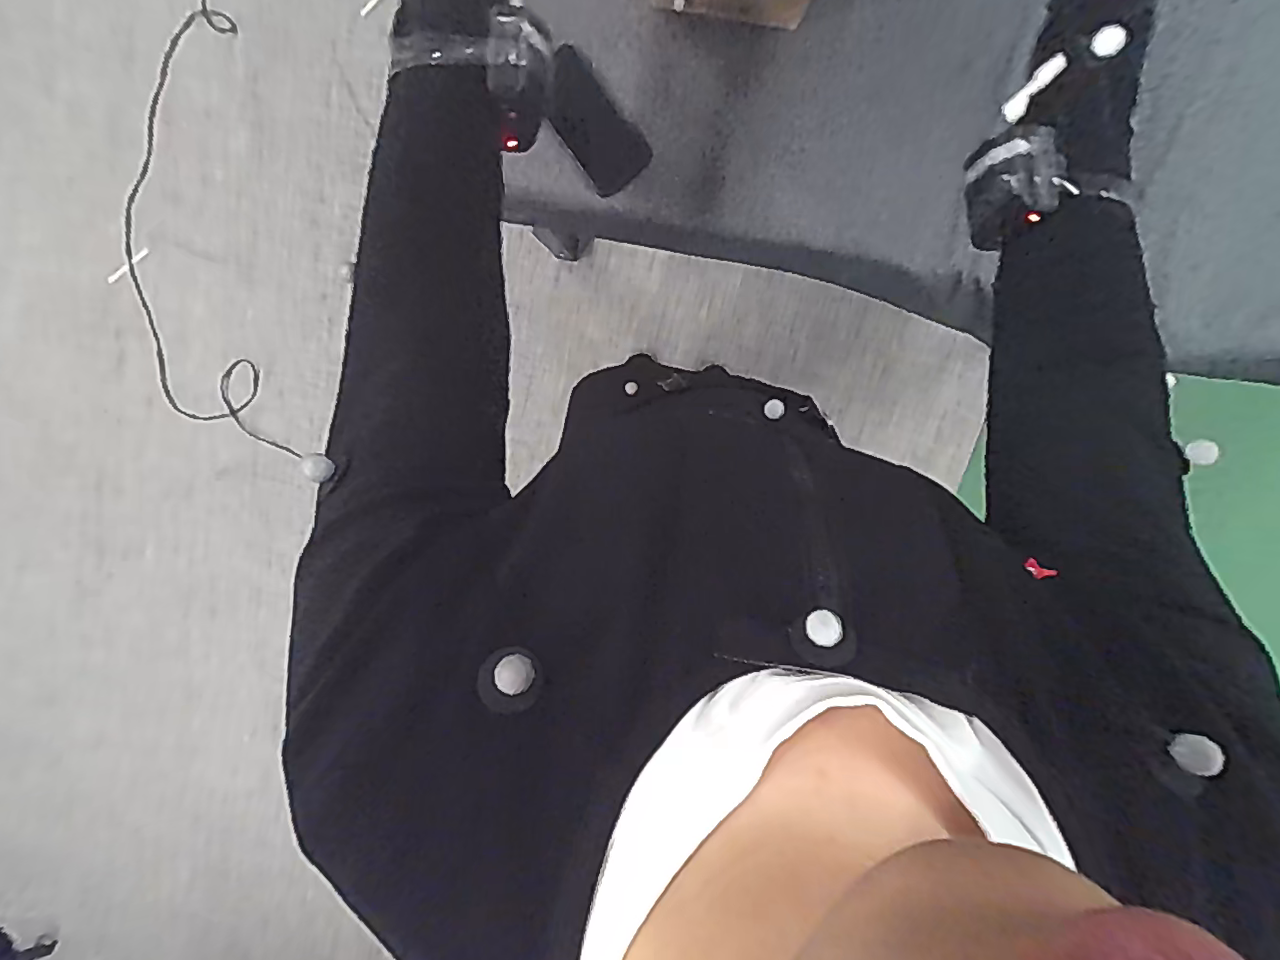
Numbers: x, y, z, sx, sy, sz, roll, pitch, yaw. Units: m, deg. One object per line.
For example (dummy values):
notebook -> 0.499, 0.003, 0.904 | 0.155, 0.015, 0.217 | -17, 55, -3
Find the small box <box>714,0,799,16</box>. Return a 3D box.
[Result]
small box -> 0.102, -0.585, 0.502 | 0.168, 0.176, 0.179 | 8, 103, -2
